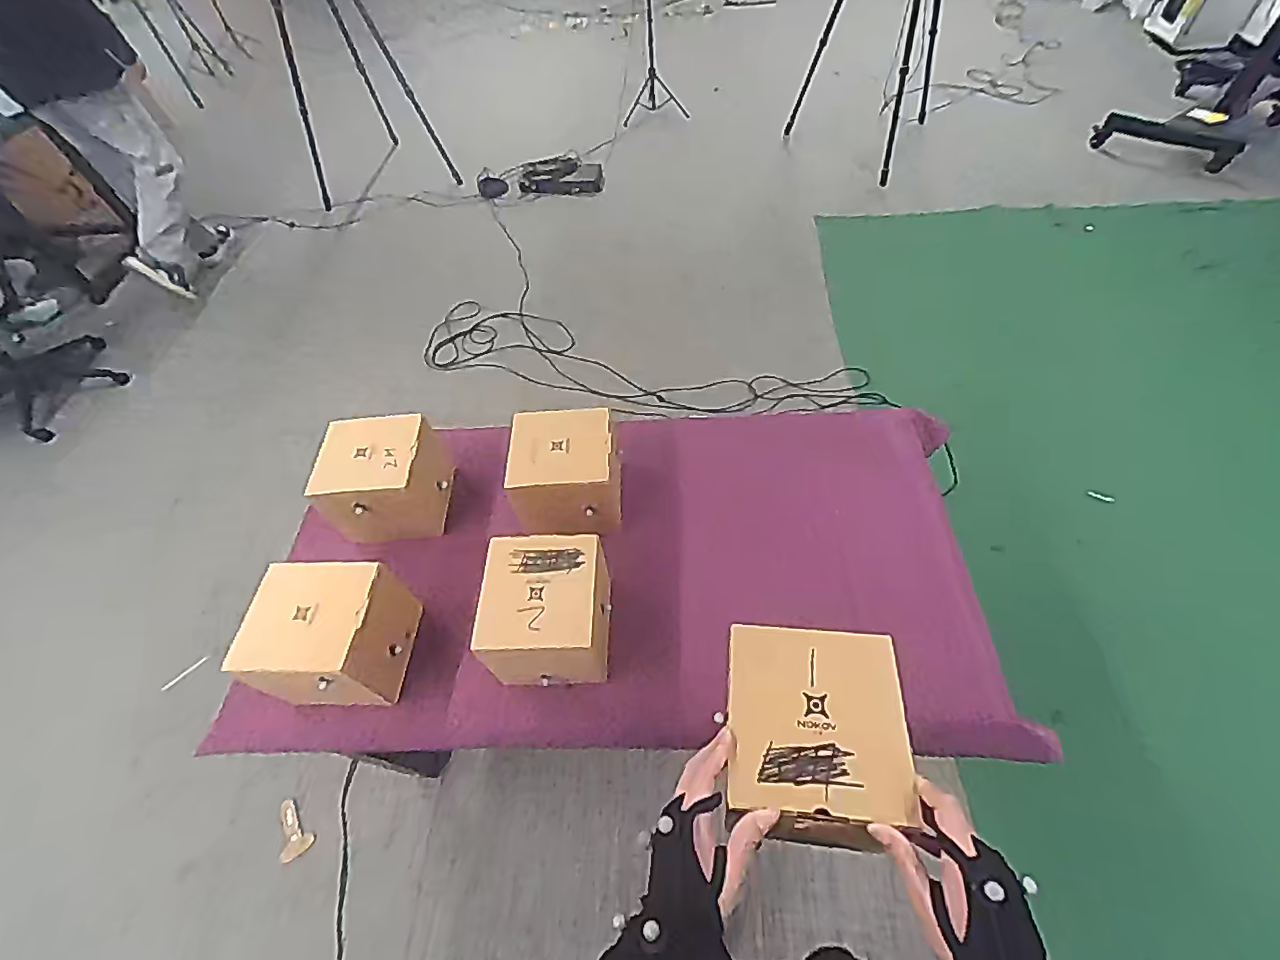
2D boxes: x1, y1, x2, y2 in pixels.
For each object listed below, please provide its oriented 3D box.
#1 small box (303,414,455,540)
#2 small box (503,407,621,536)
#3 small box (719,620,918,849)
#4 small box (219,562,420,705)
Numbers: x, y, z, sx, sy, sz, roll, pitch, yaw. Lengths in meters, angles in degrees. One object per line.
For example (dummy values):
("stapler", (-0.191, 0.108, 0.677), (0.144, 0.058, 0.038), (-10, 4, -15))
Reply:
("small box", (-0.466, 0.001, 0.995), (0.179, 0.176, 0.168), (-4, 55, 2))
("small box", (-0.129, -0.011, 0.974), (0.179, 0.176, 0.168), (-3, 54, 4))
("small box", (0.172, 0.269, 0.569), (0.168, 0.176, 0.179), (2, 50, 10))
("small box", (-0.471, 0.238, 0.828), (0.179, 0.176, 0.168), (-1, 53, 4))
